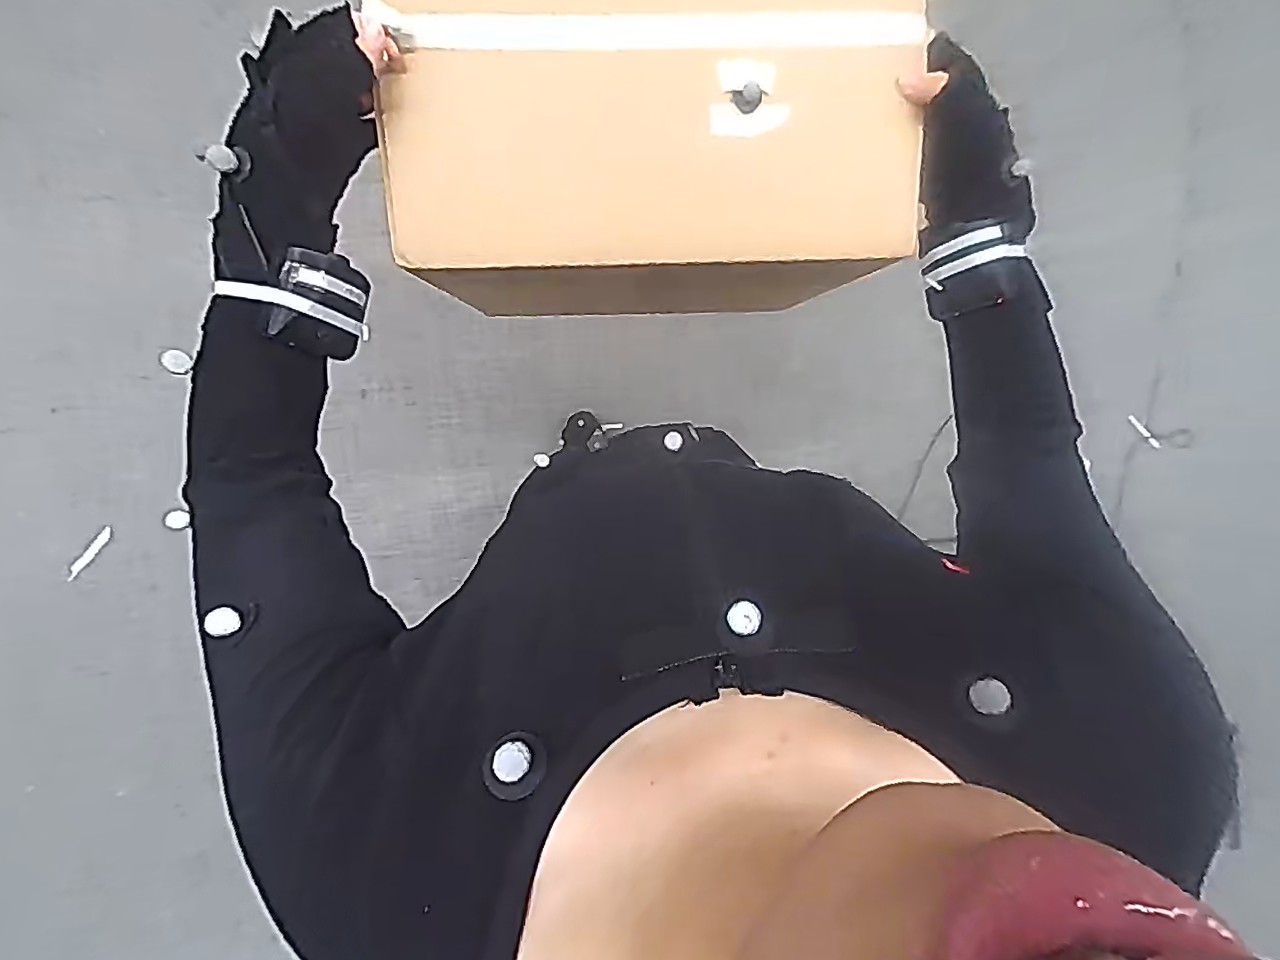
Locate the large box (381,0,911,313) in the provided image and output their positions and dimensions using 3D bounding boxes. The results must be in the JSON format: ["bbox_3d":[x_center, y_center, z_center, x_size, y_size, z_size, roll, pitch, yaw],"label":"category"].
[{"bbox_3d":[-0.002,-0.358,0.552,0.408,0.320,0.320,-3,101,-4],"label":"large box"}]
